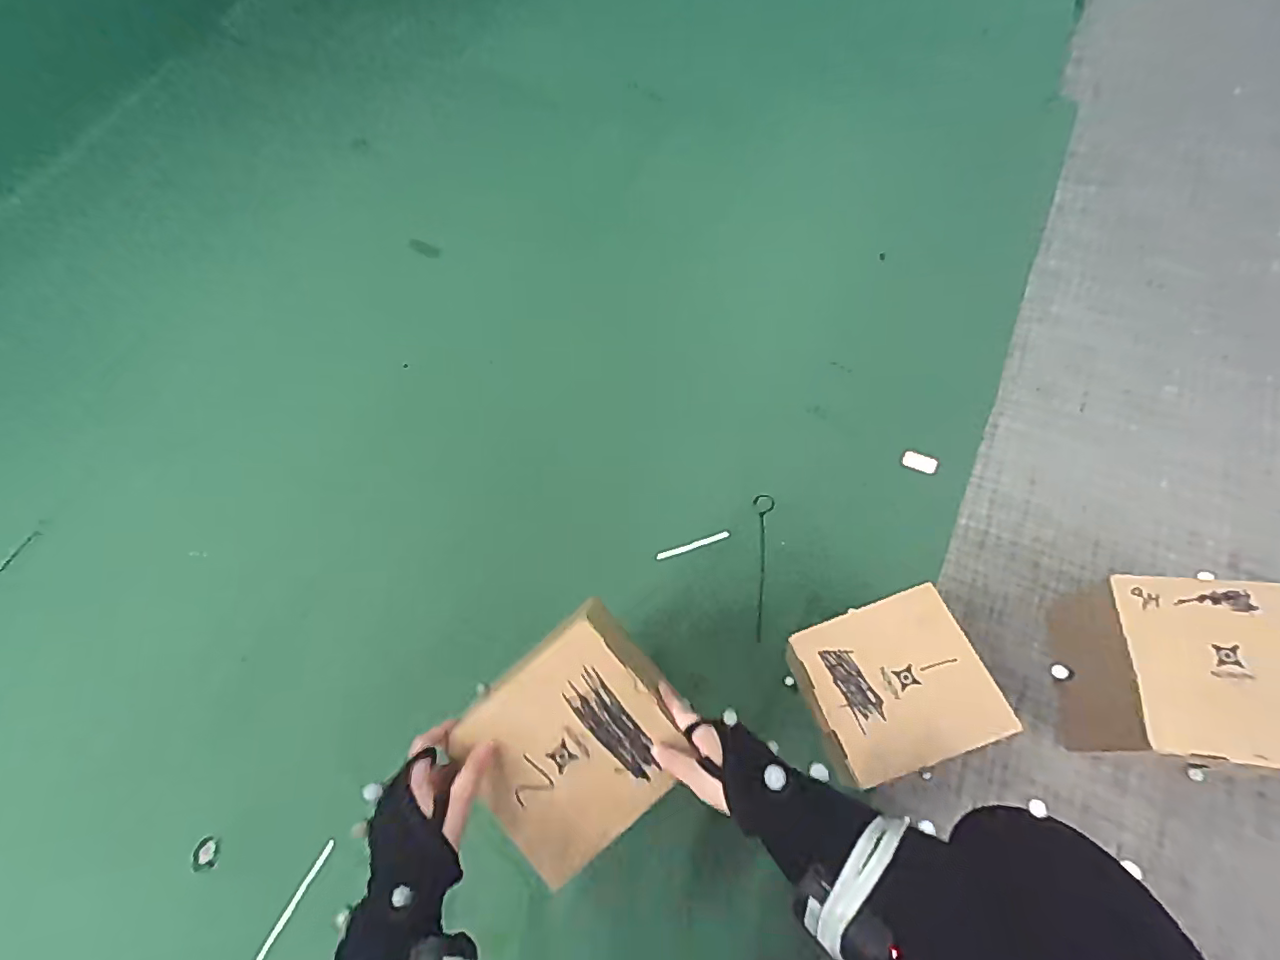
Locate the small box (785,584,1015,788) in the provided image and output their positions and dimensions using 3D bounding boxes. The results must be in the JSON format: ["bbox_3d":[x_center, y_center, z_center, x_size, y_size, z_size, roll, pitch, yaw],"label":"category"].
[{"bbox_3d":[0.289,0.252,0.649,0.179,0.176,0.168,-22,61,1],"label":"small box"}]

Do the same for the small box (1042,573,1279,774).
[{"bbox_3d":[0.581,0.215,0.595,0.168,0.176,0.179,2,65,15],"label":"small box"}]
